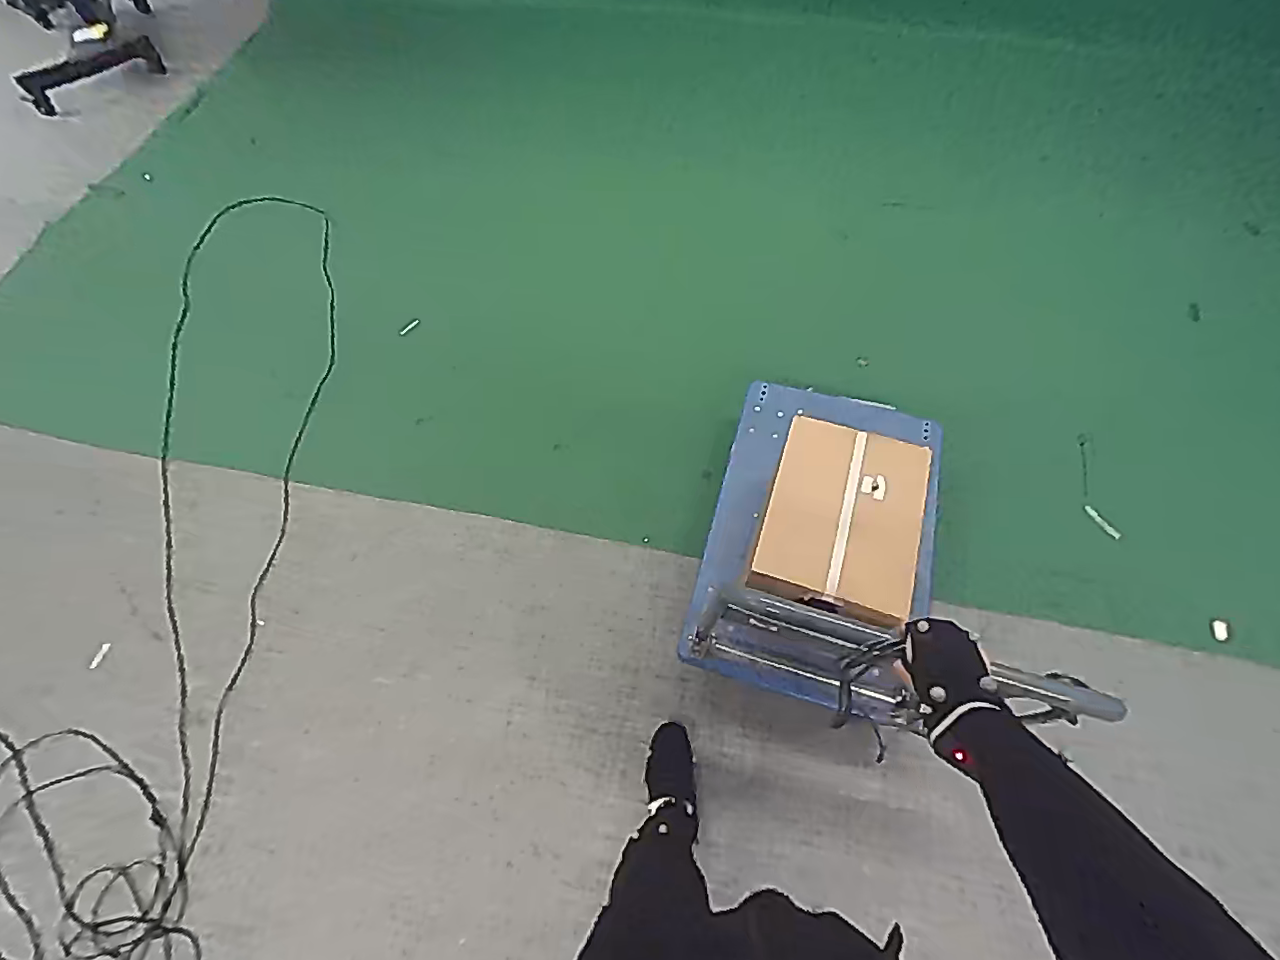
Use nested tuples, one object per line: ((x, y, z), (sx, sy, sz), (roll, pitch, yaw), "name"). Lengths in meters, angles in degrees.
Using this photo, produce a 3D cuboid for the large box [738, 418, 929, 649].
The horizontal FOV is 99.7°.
((0.440, 0.132, 1.270), (0.320, 0.320, 0.408), (17, 64, 10), "large box")
